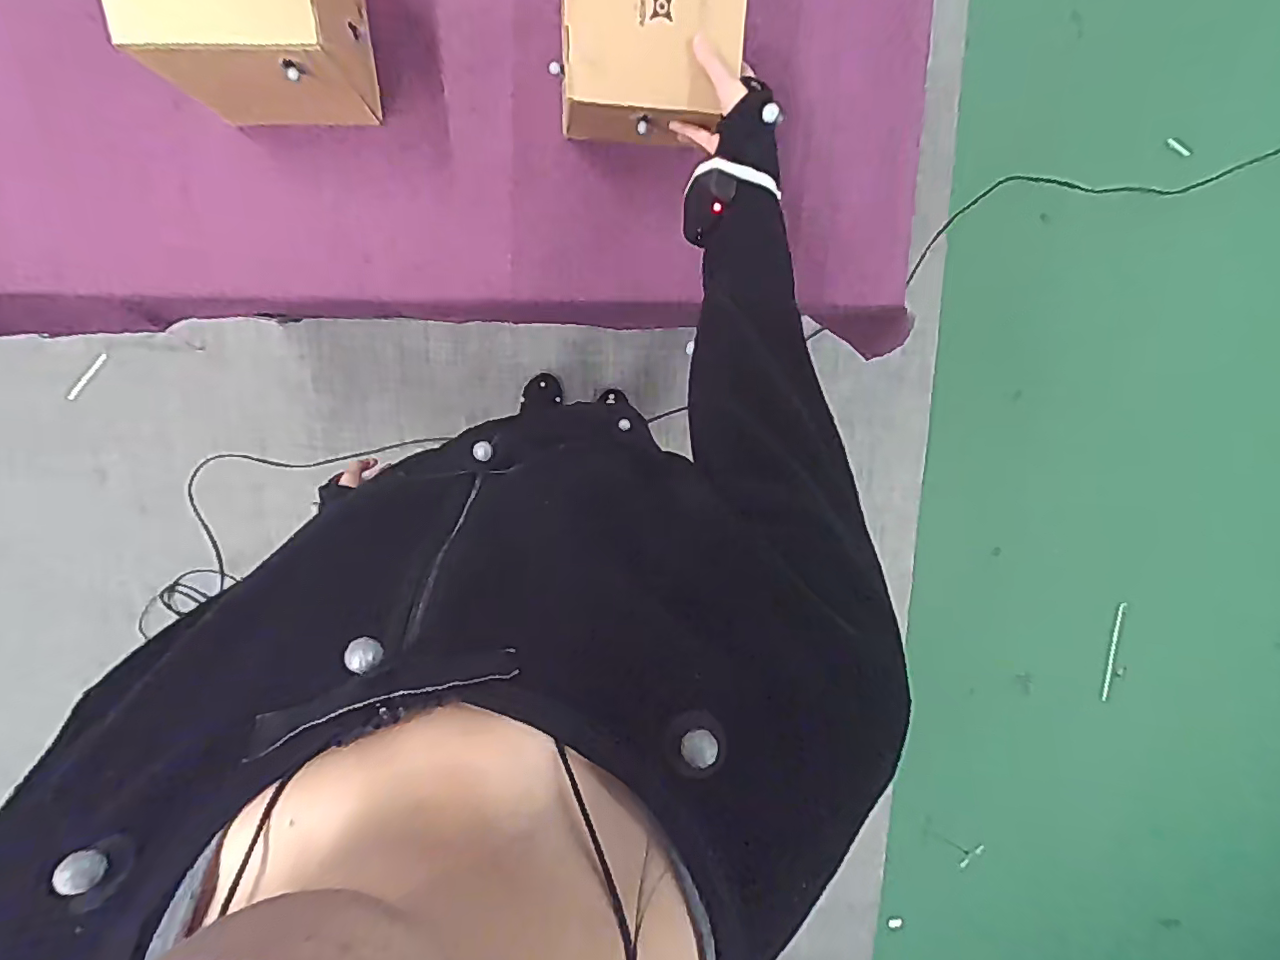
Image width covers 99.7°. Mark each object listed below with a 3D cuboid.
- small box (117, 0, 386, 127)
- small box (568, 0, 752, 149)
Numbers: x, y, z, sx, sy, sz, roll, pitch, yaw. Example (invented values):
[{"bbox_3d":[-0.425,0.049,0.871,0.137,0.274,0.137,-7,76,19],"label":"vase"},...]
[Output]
[{"bbox_3d":[-0.386,-0.485,0.551,0.179,0.176,0.168,-6,102,-7],"label":"small box"},{"bbox_3d":[0.010,-0.474,0.589,0.179,0.176,0.168,-1,112,-9],"label":"small box"}]
